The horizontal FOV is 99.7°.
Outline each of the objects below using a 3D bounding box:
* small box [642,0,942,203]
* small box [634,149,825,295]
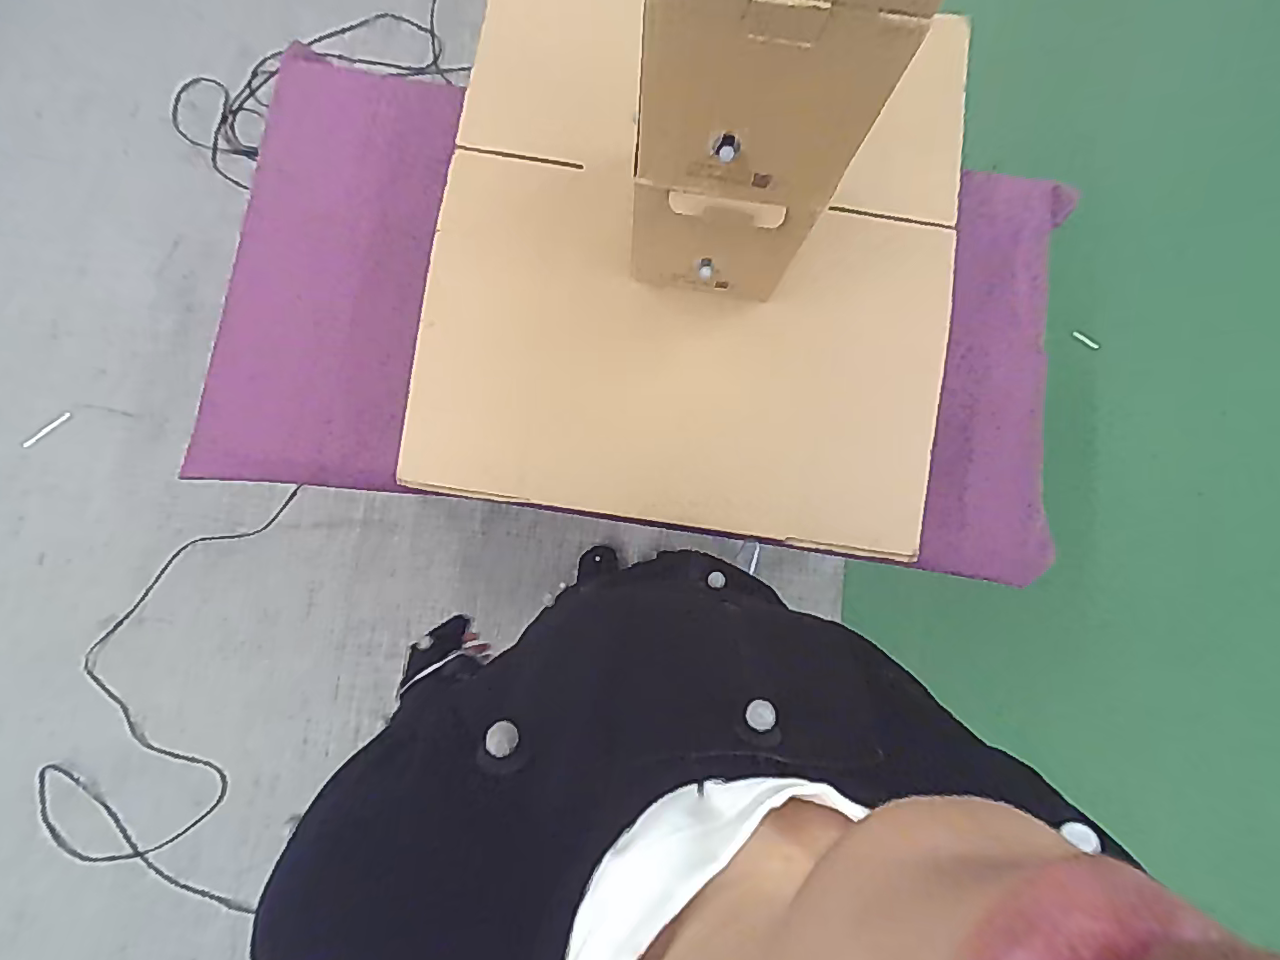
[{"bbox_3d":[0.094,-0.342,0.392,0.168,0.176,0.179,7,82,-2],"label":"small box"},{"bbox_3d":[0.087,-0.319,0.553,0.168,0.176,0.179,9,82,-1],"label":"small box"}]
